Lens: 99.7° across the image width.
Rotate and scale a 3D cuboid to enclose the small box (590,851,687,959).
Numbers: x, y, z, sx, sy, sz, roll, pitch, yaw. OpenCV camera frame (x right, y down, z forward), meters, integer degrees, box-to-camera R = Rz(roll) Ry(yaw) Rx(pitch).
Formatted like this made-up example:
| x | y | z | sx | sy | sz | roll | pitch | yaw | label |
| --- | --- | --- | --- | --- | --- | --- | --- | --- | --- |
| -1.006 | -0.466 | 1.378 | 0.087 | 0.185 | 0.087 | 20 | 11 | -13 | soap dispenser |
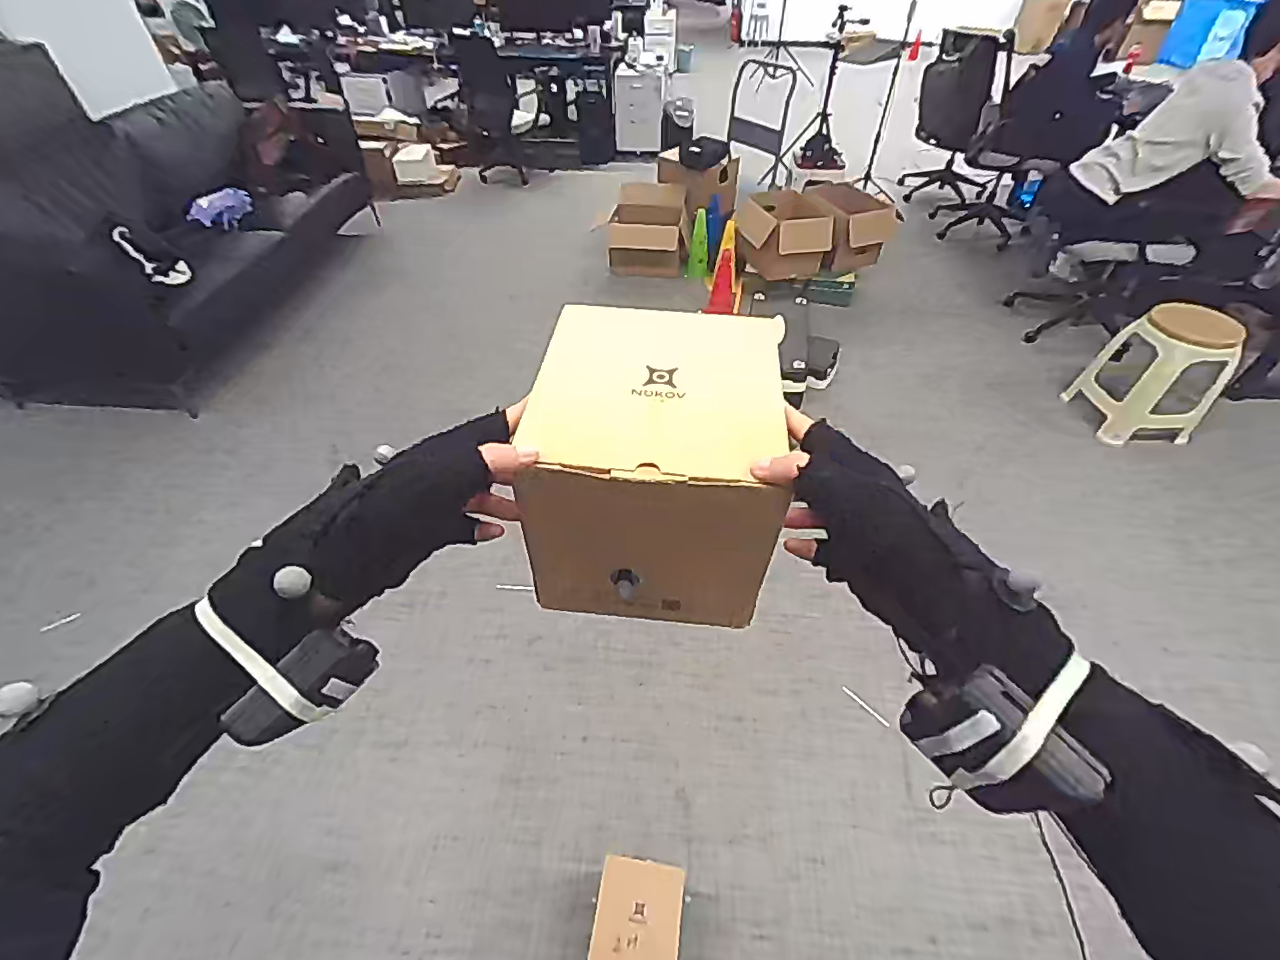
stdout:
| x | y | z | sx | sy | sz | roll | pitch | yaw | label |
| --- | --- | --- | --- | --- | --- | --- | --- | --- | --- |
| 0.000 | 0.891 | 1.101 | 0.168 | 0.176 | 0.179 | 6 | 46 | 7 | small box |
